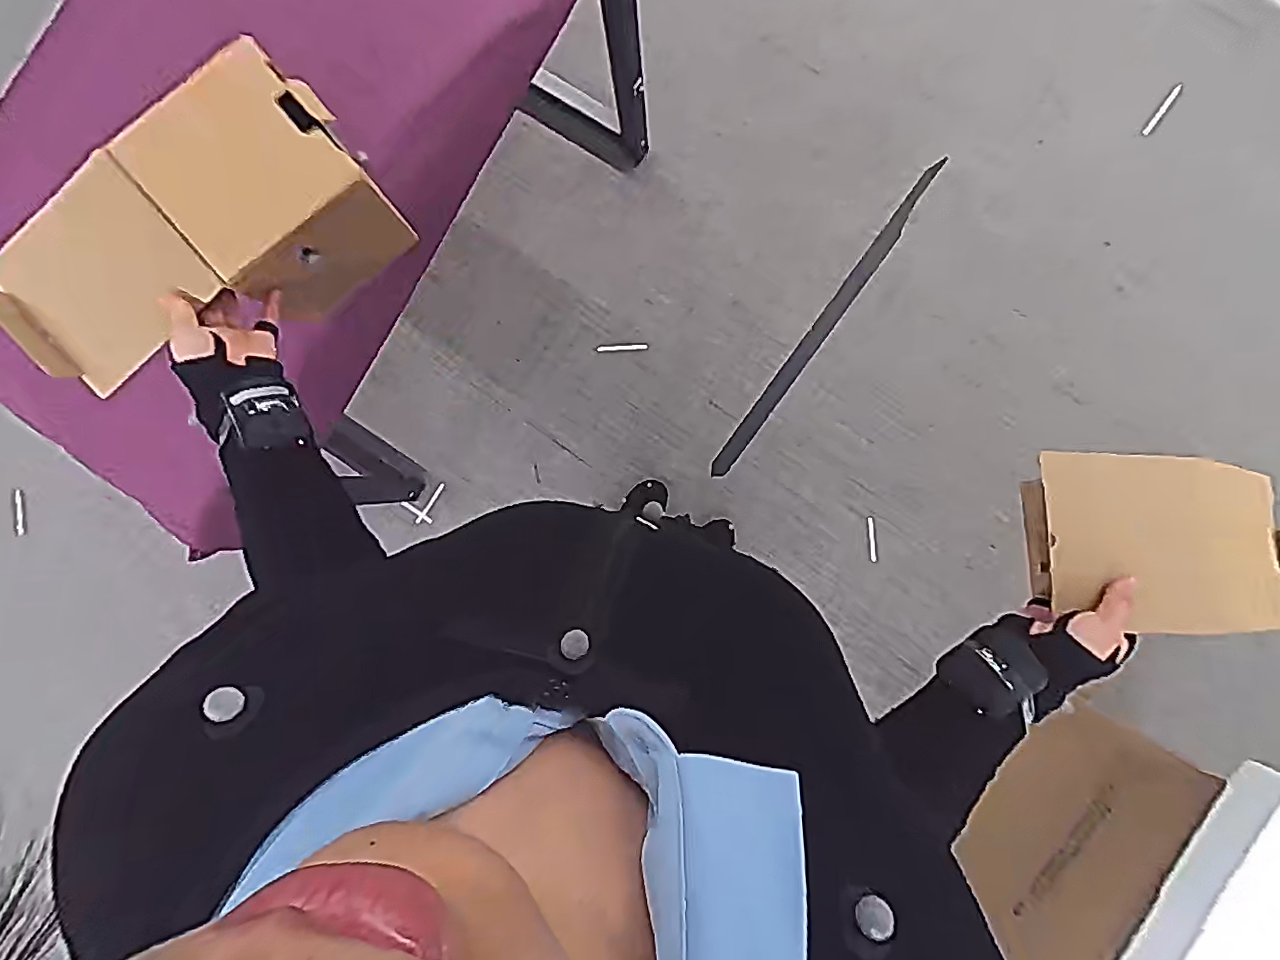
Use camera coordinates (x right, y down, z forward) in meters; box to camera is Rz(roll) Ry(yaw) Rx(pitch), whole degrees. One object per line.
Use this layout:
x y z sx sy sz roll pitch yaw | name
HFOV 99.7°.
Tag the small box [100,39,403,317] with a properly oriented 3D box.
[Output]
-0.404 -0.310 0.601 0.179 0.176 0.168 -42 95 0 | small box
